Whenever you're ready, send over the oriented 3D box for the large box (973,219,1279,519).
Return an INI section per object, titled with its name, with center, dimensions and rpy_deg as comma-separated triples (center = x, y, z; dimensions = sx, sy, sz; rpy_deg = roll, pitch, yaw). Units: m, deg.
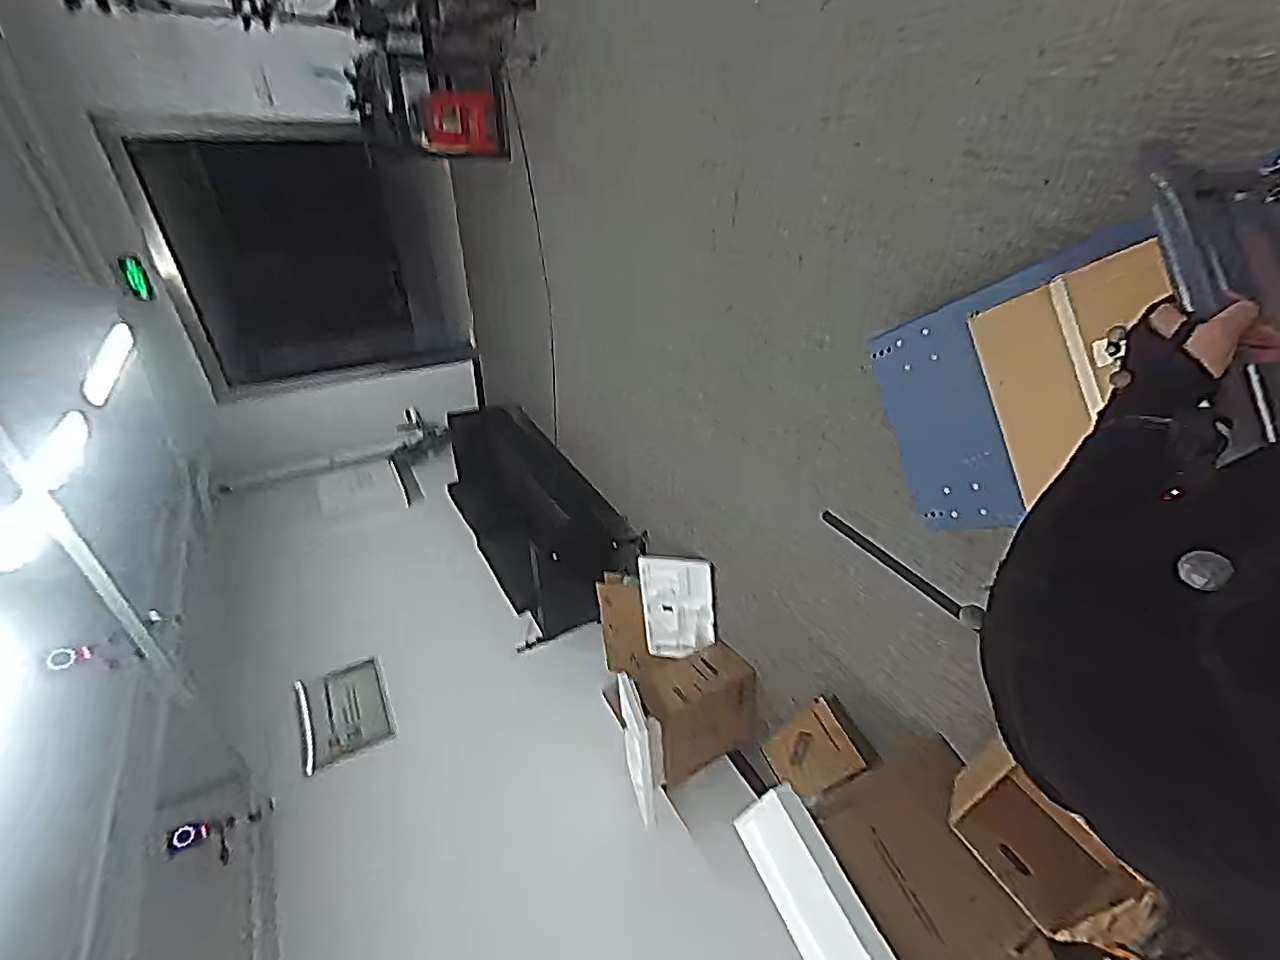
[large box]
center = 0.872, -0.175, 0.934
dimensions = 0.320, 0.320, 0.408
rpy_deg = -19, 87, 64
